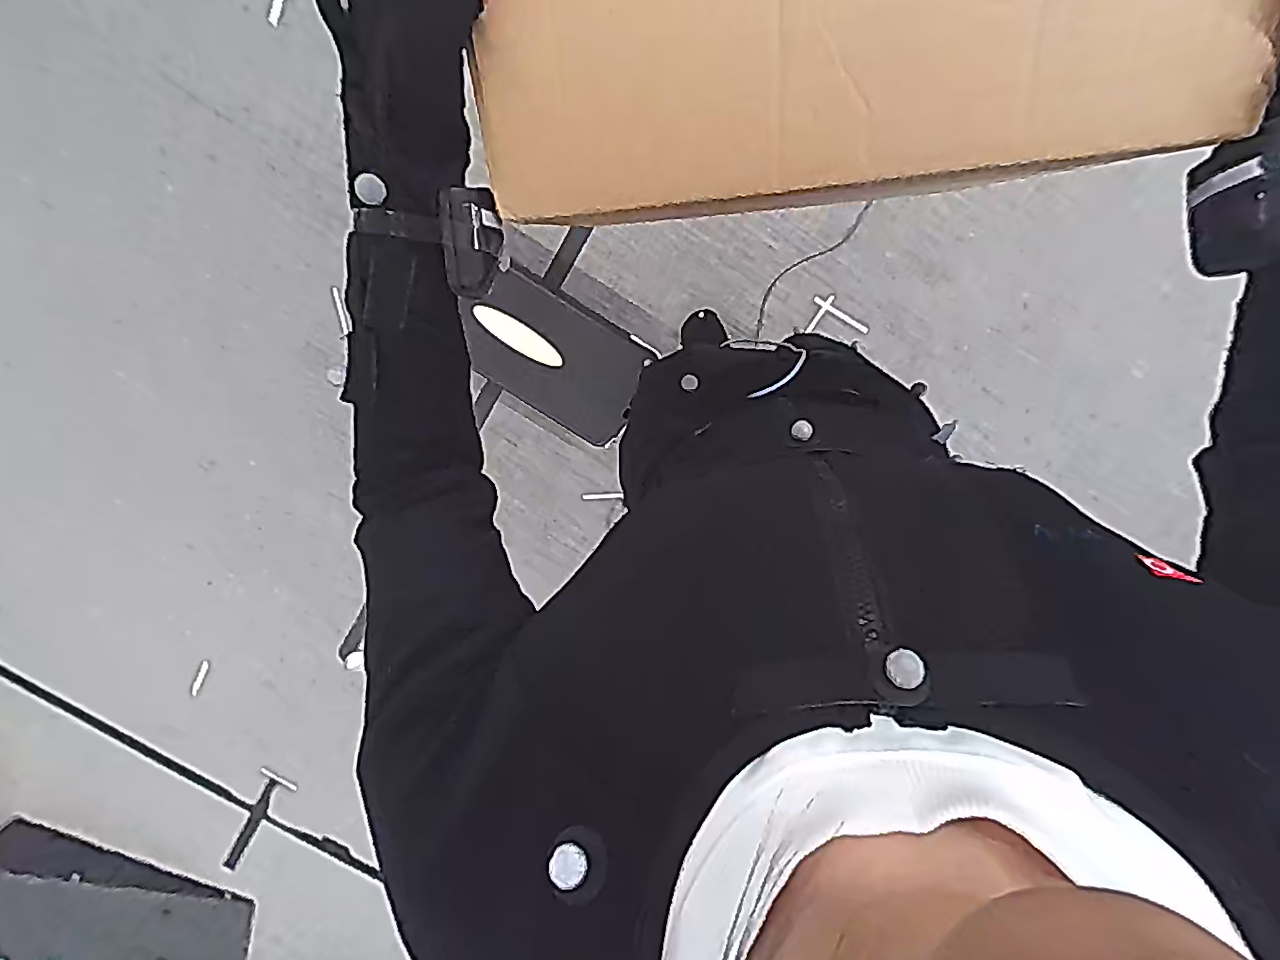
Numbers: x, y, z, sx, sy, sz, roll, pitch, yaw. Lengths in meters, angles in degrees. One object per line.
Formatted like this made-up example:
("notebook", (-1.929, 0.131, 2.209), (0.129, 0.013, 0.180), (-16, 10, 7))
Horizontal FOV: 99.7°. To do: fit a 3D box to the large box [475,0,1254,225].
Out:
("large box", (0.109, -0.381, 0.389), (0.408, 0.320, 0.320), (-4, 115, 7))
